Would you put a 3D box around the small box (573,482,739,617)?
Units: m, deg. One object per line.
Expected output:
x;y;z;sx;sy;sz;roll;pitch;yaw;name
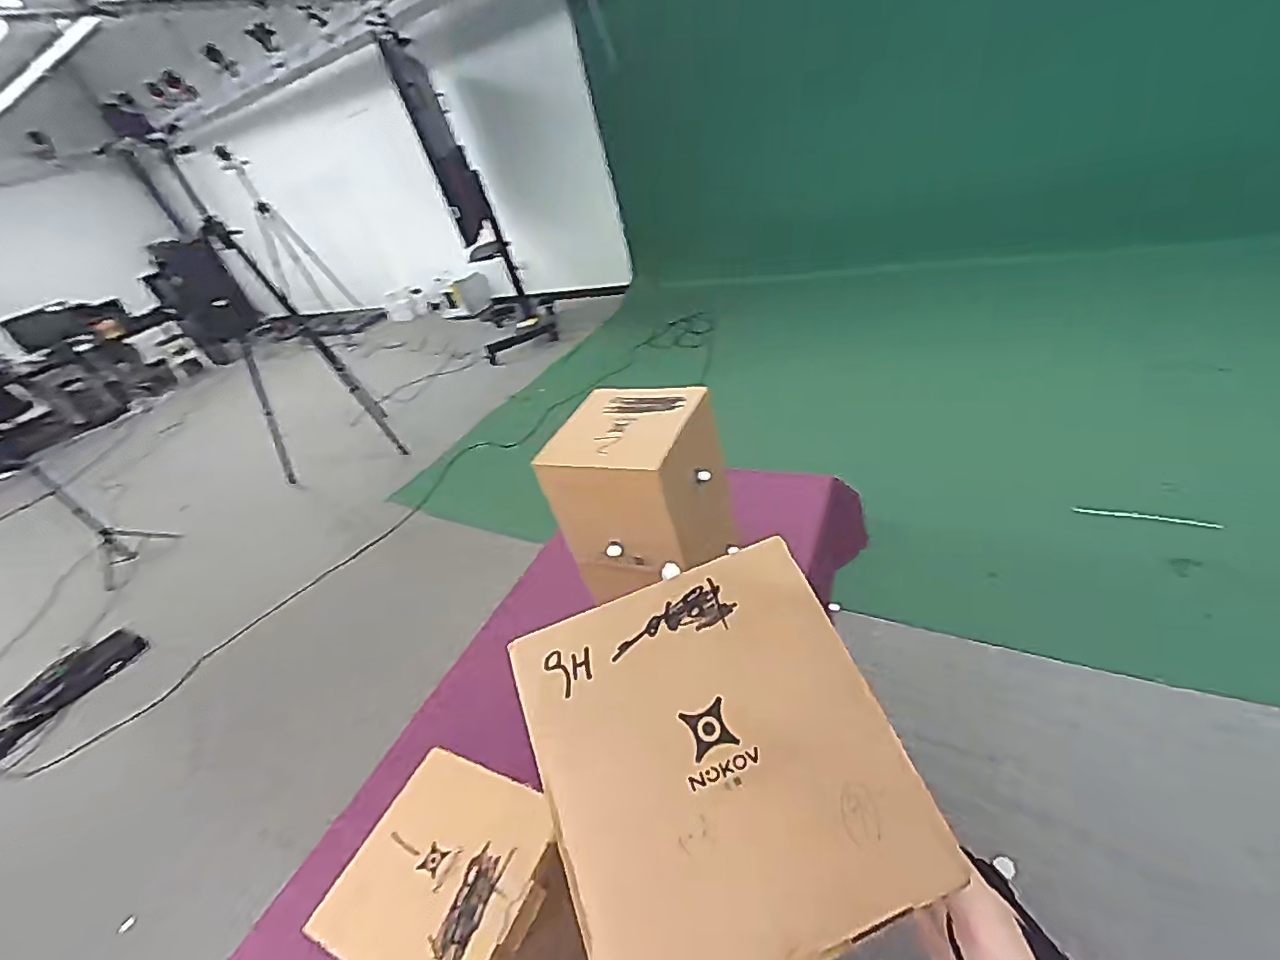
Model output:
0.036;0.124;0.799;0.179;0.176;0.168;4;40;29;small box

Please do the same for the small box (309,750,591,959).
-0.150;0.397;0.510;0.179;0.176;0.168;4;39;29;small box

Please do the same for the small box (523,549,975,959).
0.046;0.171;0.331;0.168;0.176;0.179;-20;63;-7;small box
